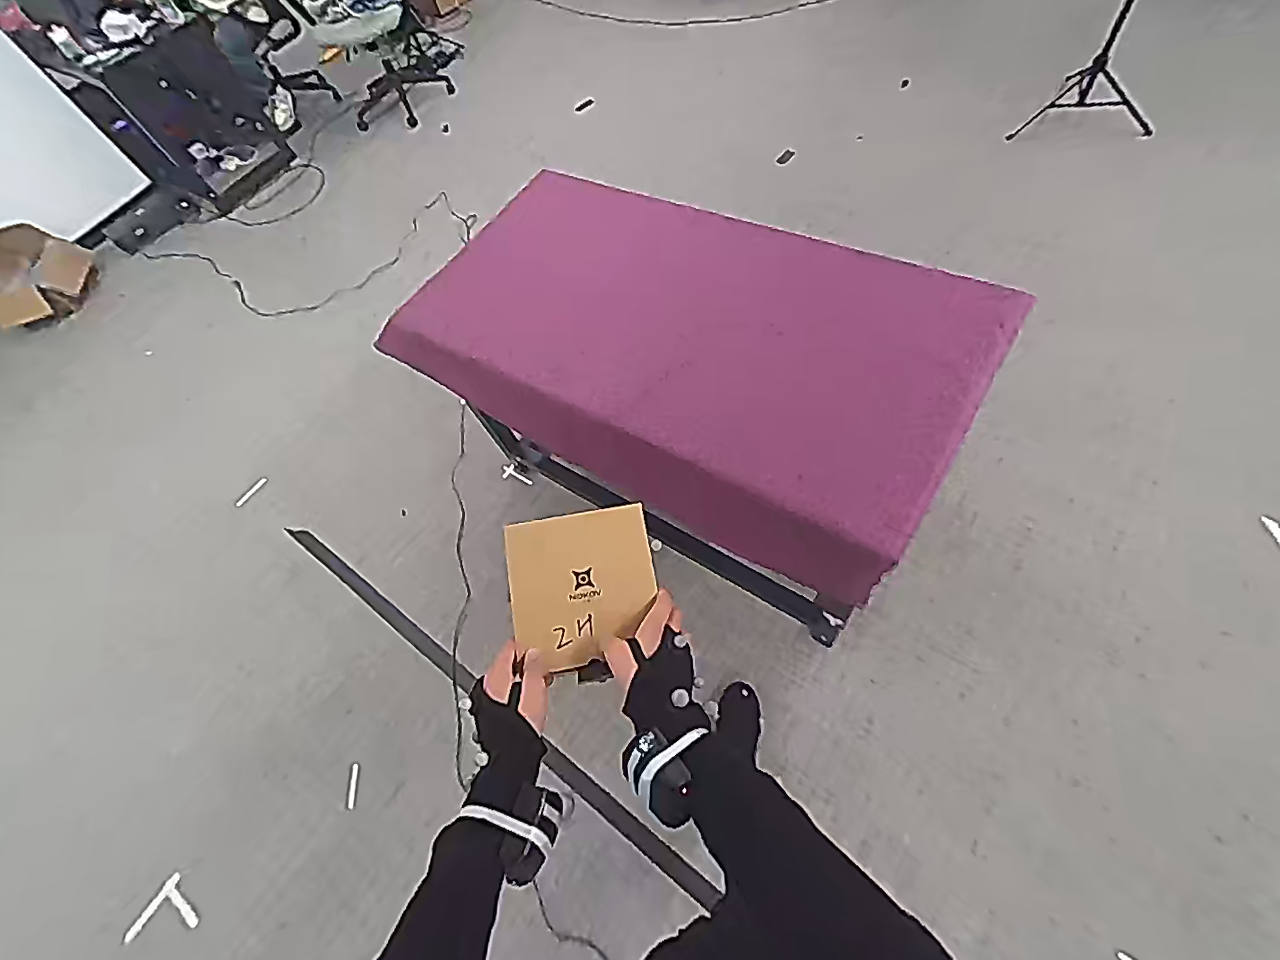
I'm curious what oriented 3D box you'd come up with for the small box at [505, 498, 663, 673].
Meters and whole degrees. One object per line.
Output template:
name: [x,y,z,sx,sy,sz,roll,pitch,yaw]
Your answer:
small box: [-0.069,0.141,0.689,0.168,0.176,0.179,-9,70,-3]
